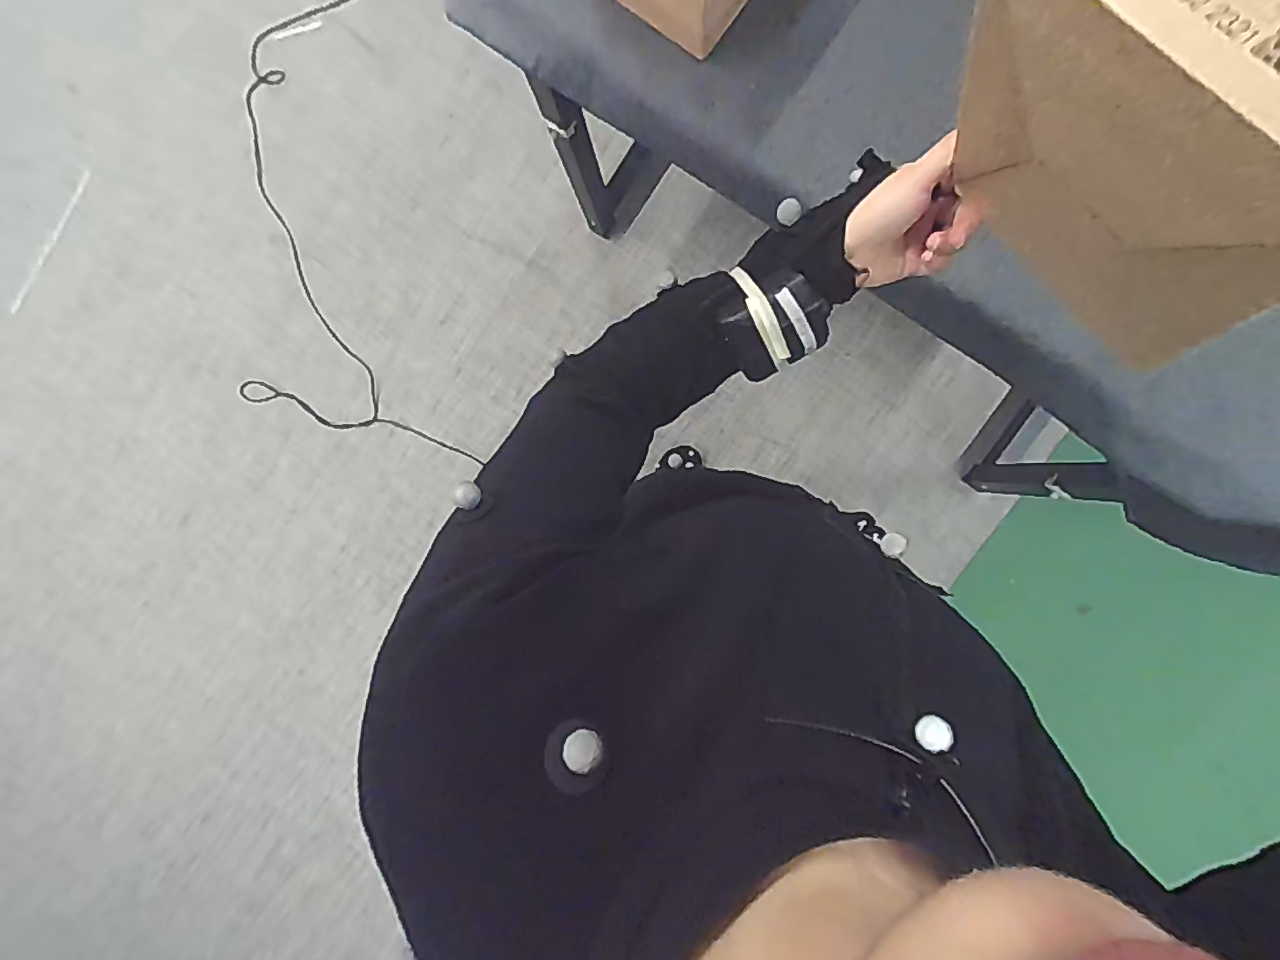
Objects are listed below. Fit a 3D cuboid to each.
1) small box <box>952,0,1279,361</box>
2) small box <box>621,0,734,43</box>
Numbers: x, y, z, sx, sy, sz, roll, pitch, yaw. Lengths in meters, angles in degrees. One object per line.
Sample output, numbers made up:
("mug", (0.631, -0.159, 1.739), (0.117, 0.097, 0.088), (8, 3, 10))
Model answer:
("small box", (0.261, -0.174, 0.221), (0.176, 0.179, 0.168), (-36, 73, 19))
("small box", (0.046, -0.604, 0.547), (0.179, 0.176, 0.168), (37, 92, 3))
